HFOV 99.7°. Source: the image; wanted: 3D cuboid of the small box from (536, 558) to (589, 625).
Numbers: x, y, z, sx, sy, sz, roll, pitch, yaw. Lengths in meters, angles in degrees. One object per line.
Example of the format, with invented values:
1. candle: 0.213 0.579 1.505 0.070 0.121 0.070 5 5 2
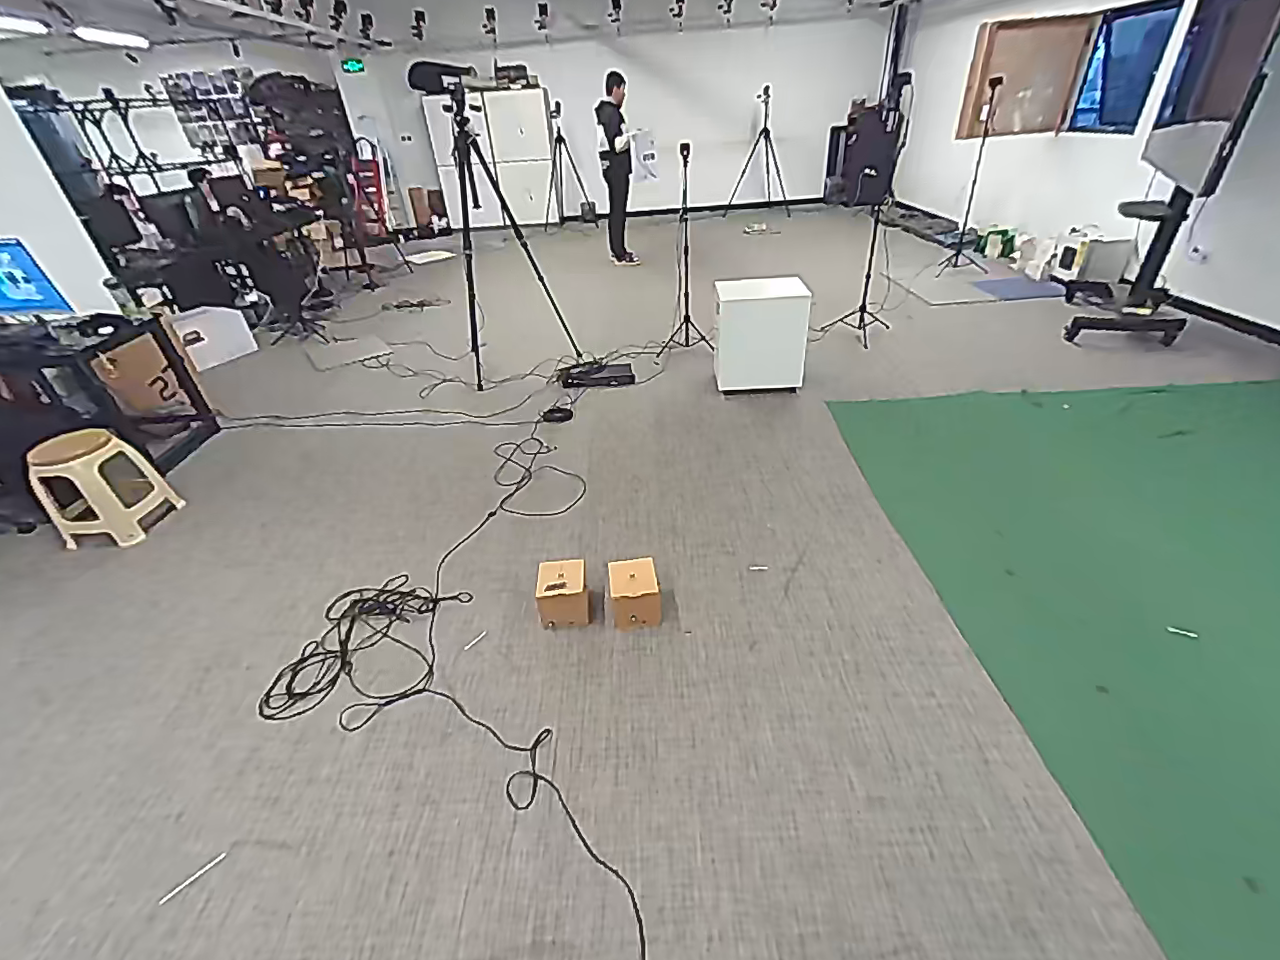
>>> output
1. small box: -0.276 0.410 1.962 0.168 0.176 0.179 -5 34 -1

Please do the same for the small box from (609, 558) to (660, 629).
1. small box: -0.021 0.407 1.943 0.168 0.176 0.179 -7 36 -3
